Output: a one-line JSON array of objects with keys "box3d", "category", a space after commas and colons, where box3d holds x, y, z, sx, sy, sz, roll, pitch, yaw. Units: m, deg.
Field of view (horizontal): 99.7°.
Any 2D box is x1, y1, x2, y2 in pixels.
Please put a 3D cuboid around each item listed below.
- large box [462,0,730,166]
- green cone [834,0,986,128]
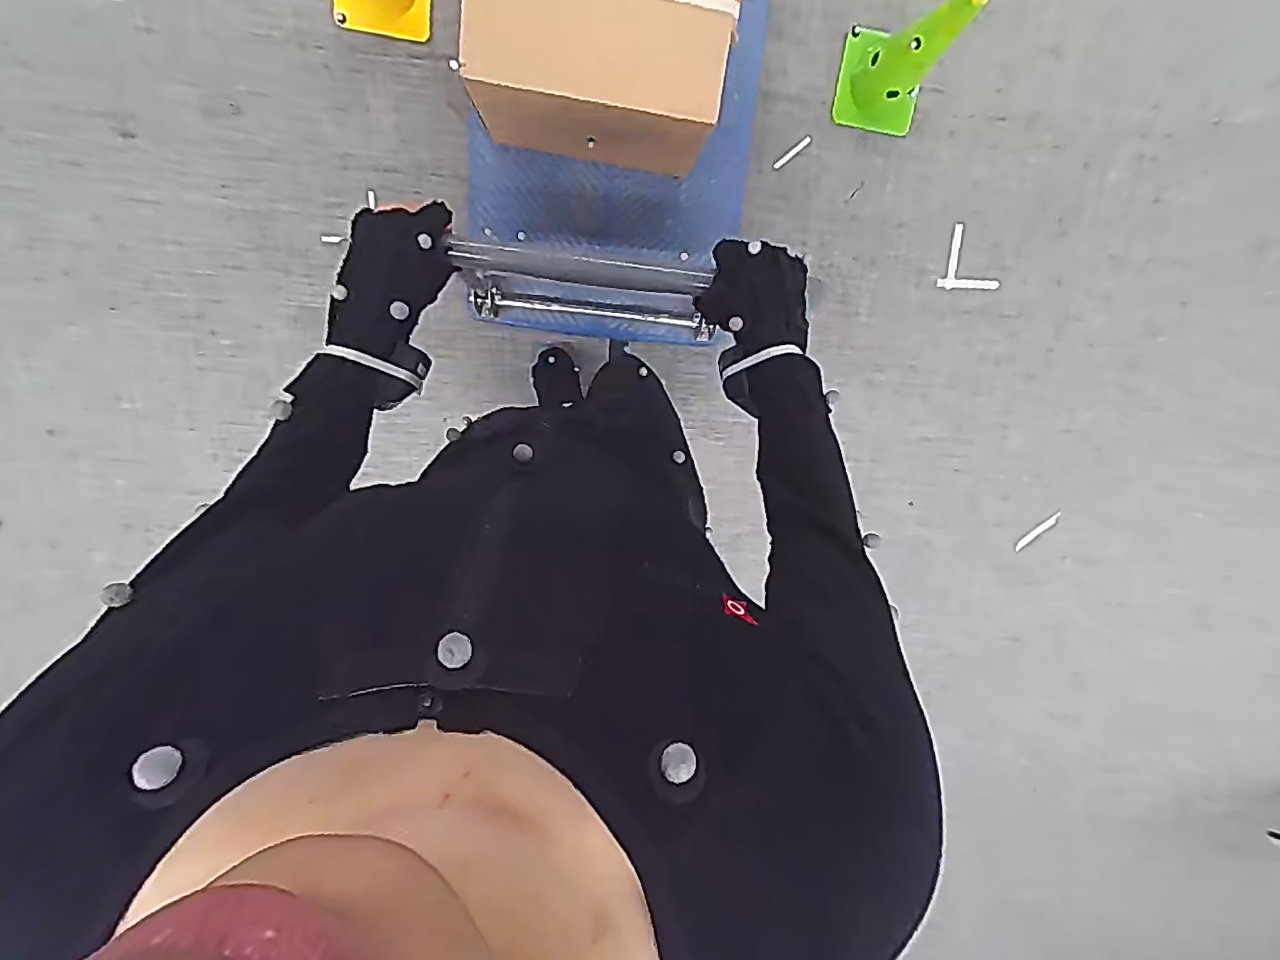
[{"box3d": [-0.067, -0.786, 0.951, 0.408, 0.320, 0.320, 6, 105, -6], "category": "large box"}, {"box3d": [0.589, -0.917, 1.122, 0.202, 0.368, 0.200, 6, 105, -8], "category": "green cone"}]
